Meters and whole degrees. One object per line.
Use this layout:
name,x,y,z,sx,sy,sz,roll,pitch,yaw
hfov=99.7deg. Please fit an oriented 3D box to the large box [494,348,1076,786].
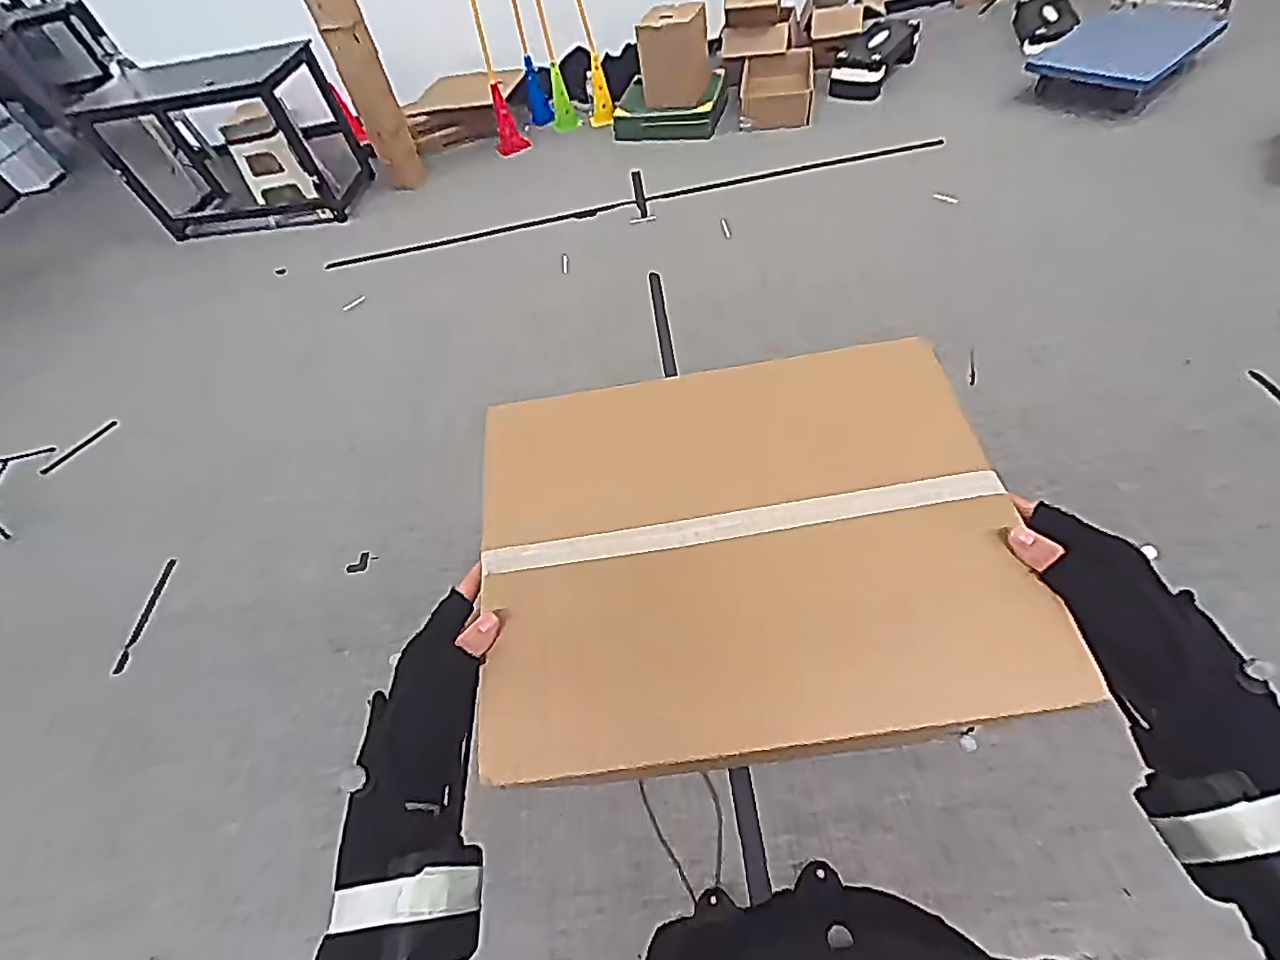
large box,0.095,0.112,0.564,0.408,0.320,0.320,-9,60,2
